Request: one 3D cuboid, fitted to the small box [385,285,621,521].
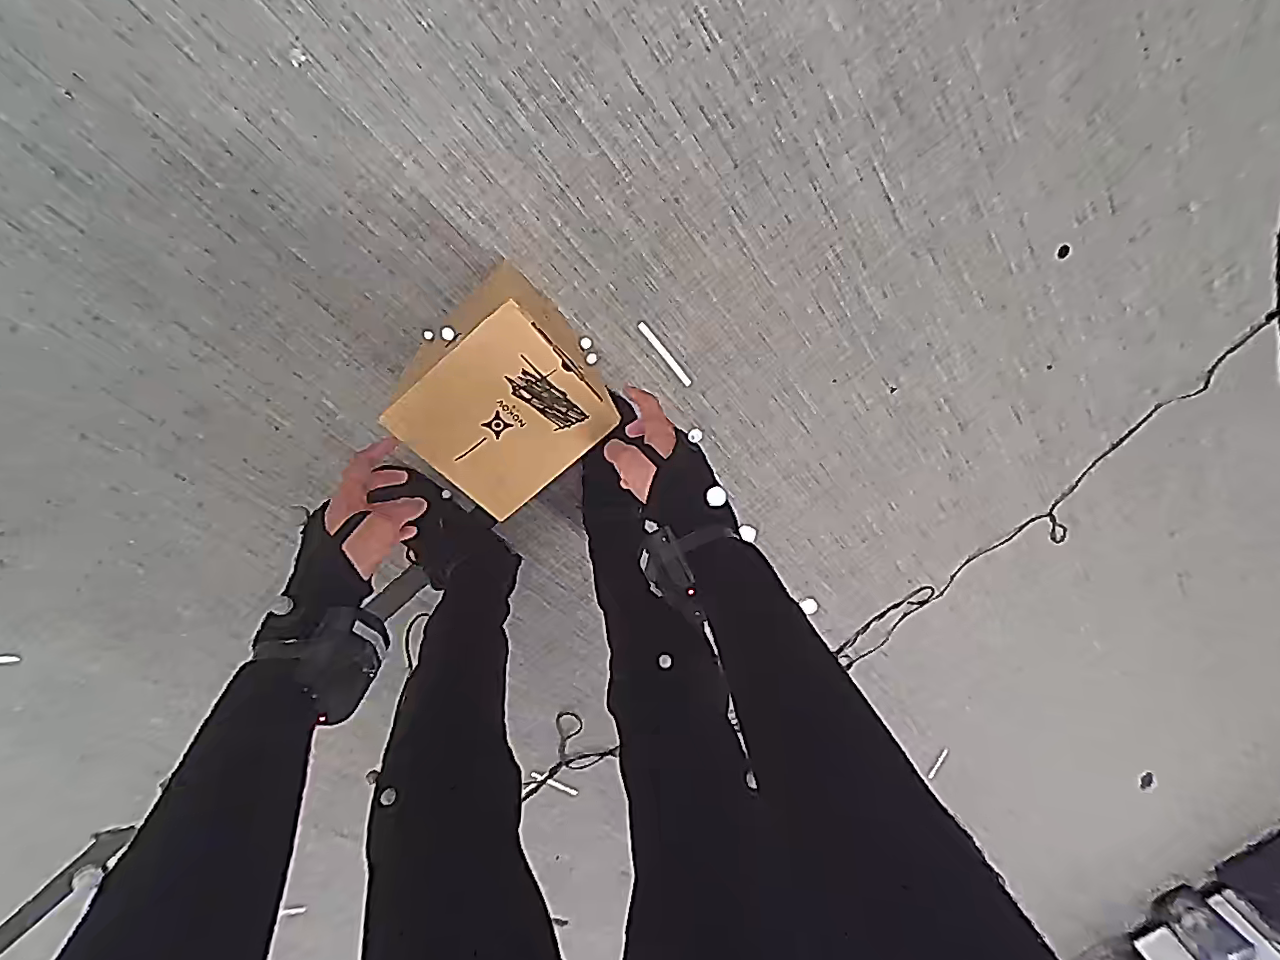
[{"bbox_3d":[-0.149,-0.095,0.611,0.179,0.176,0.168,-39,119,9],"label":"small box"}]
